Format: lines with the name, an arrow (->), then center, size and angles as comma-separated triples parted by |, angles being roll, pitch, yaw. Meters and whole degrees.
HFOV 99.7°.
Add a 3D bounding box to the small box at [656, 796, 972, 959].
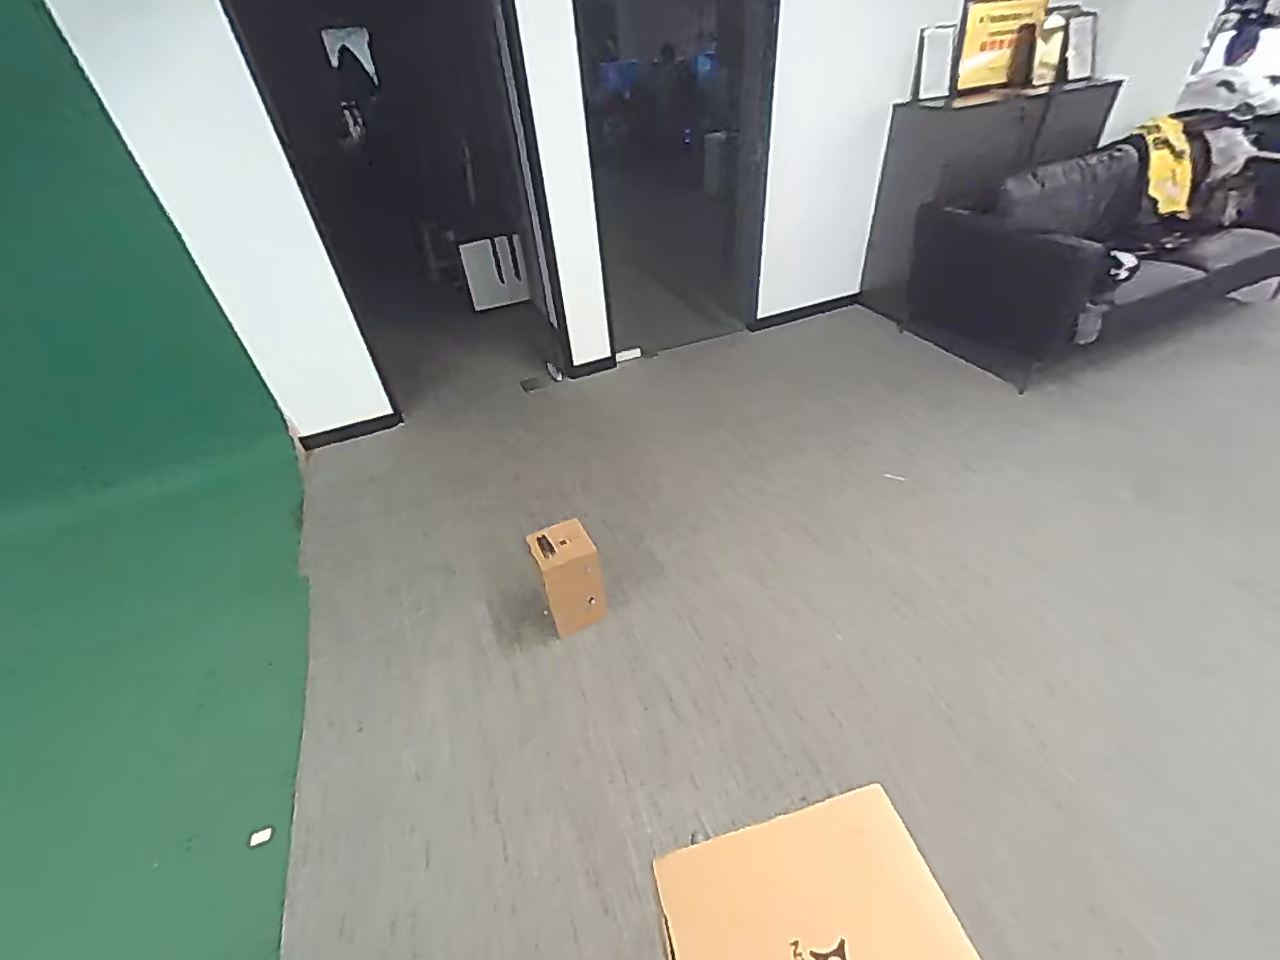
small box -> 0.117, 0.355, 0.372 | 0.179, 0.176, 0.168 | -13, 42, -9
